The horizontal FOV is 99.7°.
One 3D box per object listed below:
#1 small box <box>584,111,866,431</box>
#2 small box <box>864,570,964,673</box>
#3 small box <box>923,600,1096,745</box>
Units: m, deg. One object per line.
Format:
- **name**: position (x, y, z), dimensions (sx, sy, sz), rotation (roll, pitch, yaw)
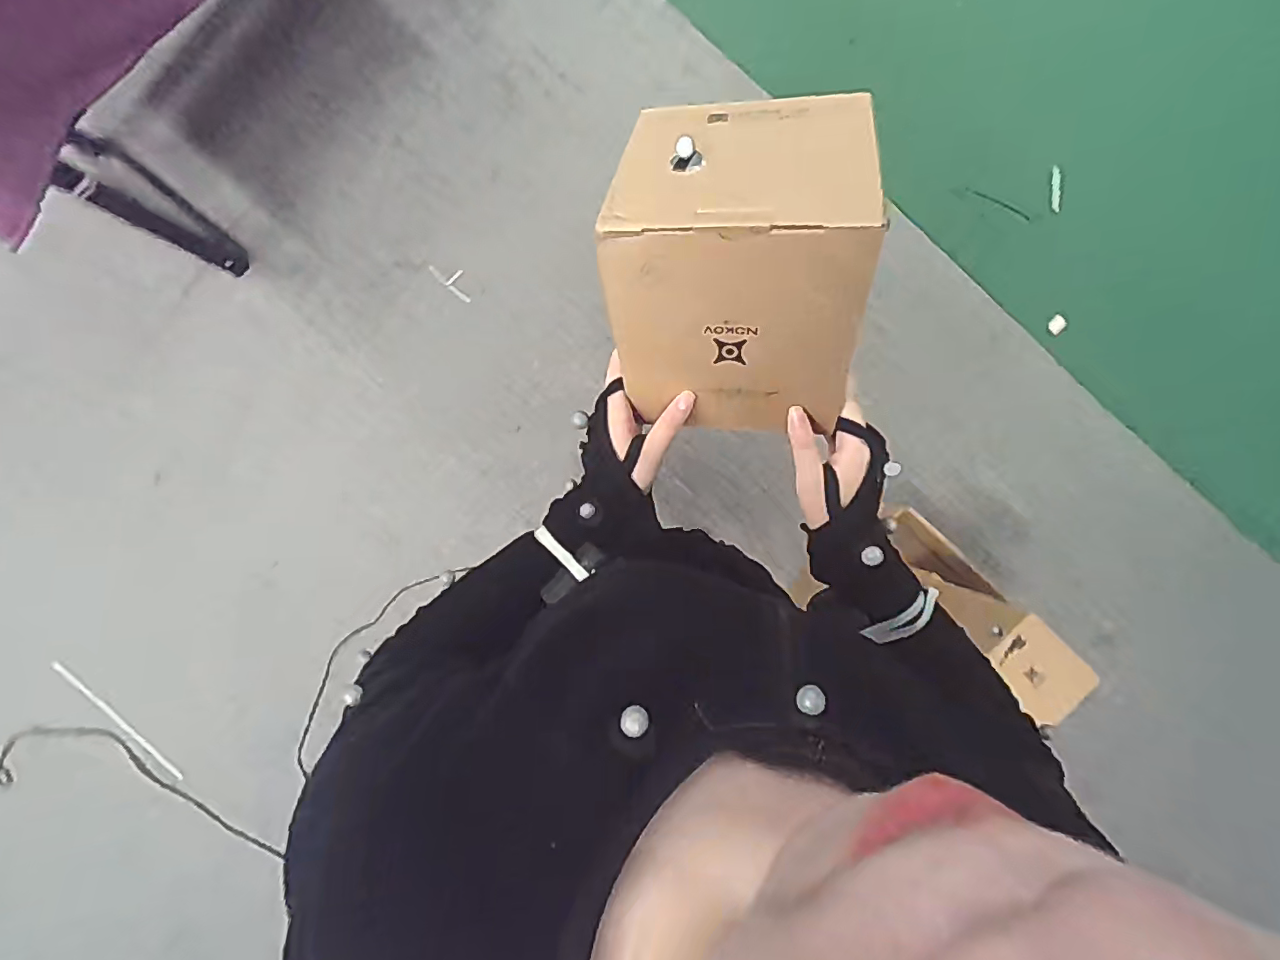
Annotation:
- **small box**: position (0.067, -0.160, 0.421), dimensions (0.168, 0.179, 0.176), rotation (4, 56, 12)
- **small box**: position (0.707, 0.346, 1.368), dimensions (0.168, 0.176, 0.179), rotation (-43, 90, 1)
- **small box**: position (0.696, 0.356, 1.040), dimensions (0.168, 0.176, 0.179), rotation (-45, 90, 0)
